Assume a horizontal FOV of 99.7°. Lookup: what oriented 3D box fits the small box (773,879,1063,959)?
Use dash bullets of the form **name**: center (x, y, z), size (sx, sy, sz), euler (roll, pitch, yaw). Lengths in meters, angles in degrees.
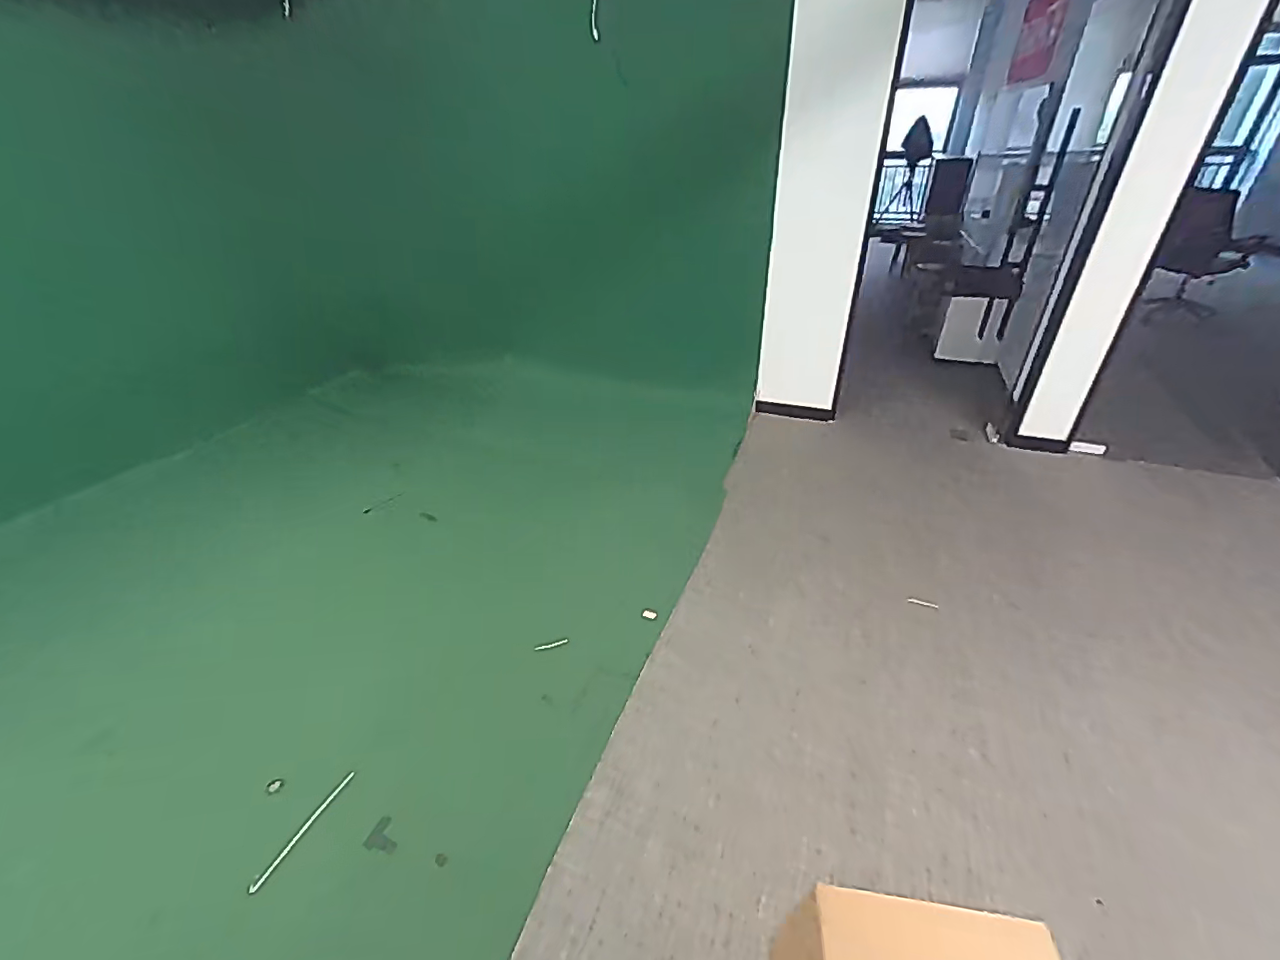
- **small box**: center (0.193, 0.418, 0.372), size (0.168, 0.176, 0.179), euler (8, 39, 4)
